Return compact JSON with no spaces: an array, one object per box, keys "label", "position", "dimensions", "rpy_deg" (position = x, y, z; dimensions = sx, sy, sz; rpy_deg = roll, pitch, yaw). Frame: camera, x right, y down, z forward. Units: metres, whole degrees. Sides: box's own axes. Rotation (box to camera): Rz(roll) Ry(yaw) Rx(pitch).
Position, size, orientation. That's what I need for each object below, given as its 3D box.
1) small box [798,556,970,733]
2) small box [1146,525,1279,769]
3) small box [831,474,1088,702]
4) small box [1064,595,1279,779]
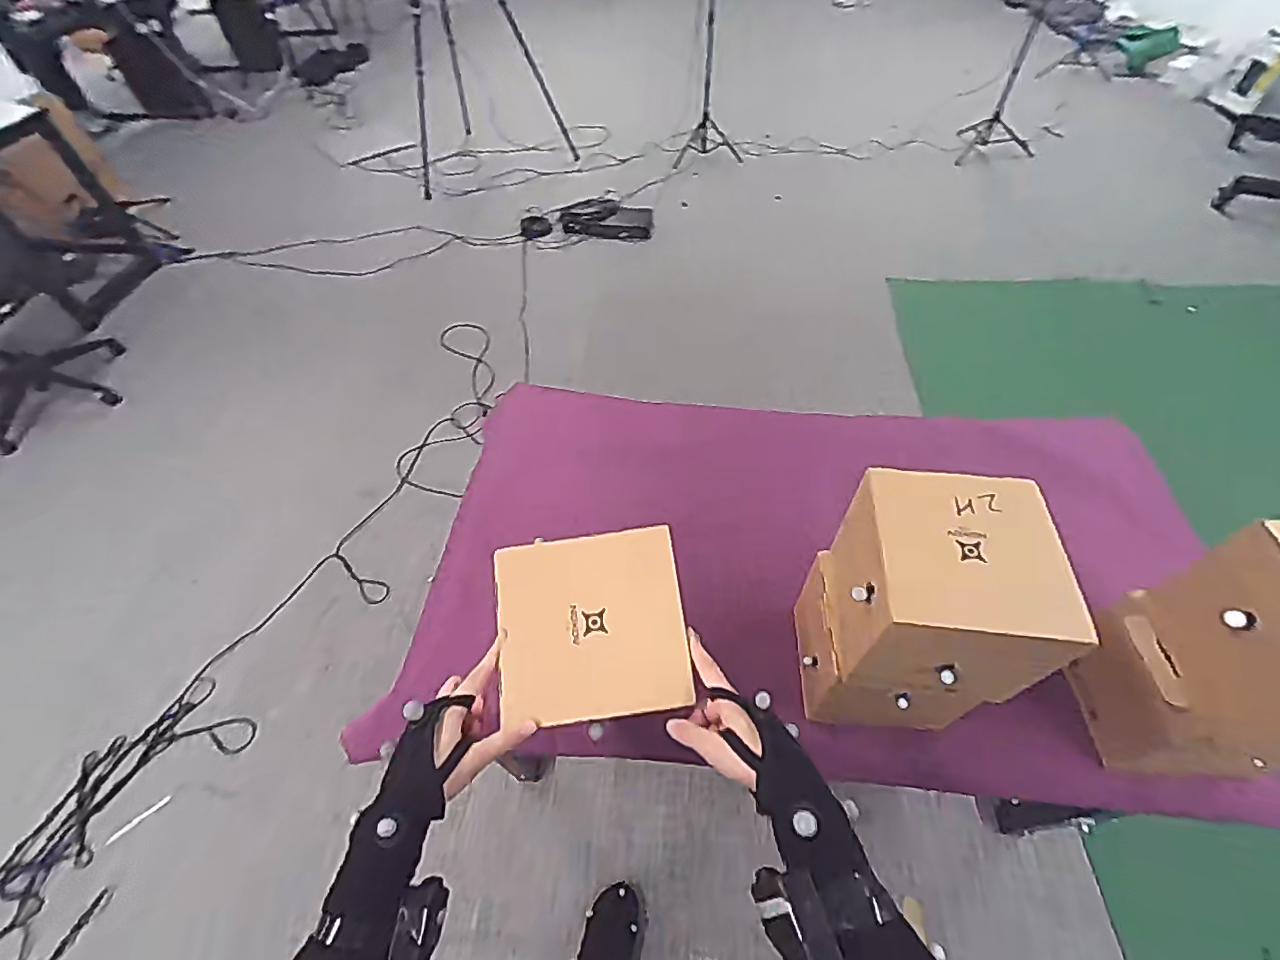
[{"label":"small box","position":[0.308,0.216,0.702],"dimensions":[0.179,0.176,0.168],"rpy_deg":[3,51,5]},{"label":"small box","position":[0.653,0.164,0.514],"dimensions":[0.168,0.176,0.179],"rpy_deg":[2,51,6]},{"label":"small box","position":[0.308,0.117,0.571],"dimensions":[0.168,0.176,0.179],"rpy_deg":[5,52,7]},{"label":"small box","position":[0.663,0.252,0.653],"dimensions":[0.179,0.176,0.168],"rpy_deg":[1,52,4]}]
